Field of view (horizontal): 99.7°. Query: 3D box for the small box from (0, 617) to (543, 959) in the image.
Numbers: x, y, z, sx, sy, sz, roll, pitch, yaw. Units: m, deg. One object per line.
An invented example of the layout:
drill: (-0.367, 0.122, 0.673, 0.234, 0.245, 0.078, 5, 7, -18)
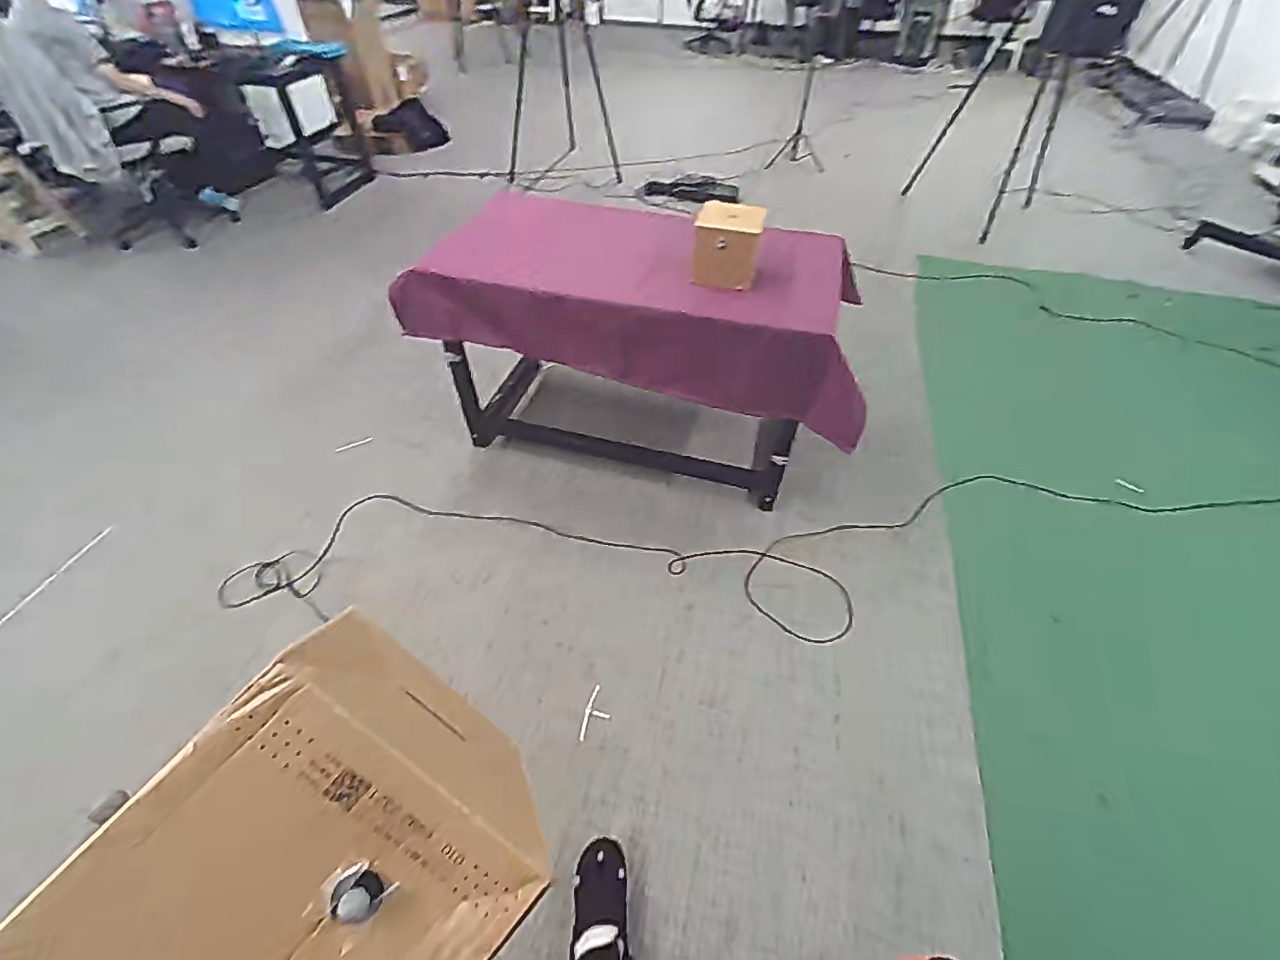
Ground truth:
small box: (-0.177, 0.201, 0.311, 0.168, 0.179, 0.176, 44, 73, -10)

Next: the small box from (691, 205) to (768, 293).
small box: (0.247, -0.647, 1.517, 0.179, 0.176, 0.168, 13, 49, 11)
